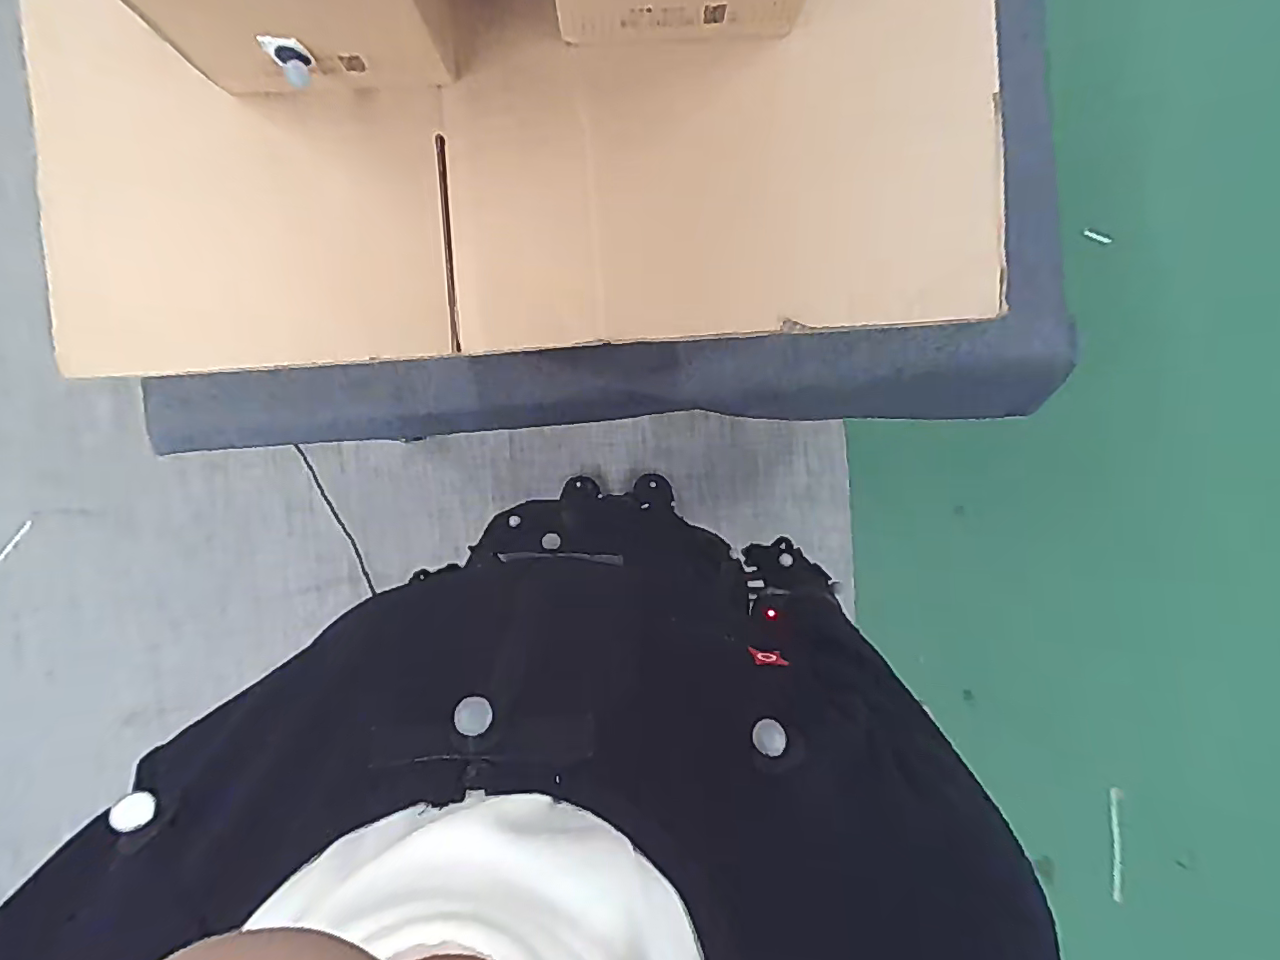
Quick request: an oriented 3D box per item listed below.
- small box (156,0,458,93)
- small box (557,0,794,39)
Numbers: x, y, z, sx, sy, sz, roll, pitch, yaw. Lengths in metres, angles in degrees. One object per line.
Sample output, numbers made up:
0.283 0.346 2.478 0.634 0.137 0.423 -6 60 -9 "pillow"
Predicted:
-0.216 -0.367 0.308 0.168 0.176 0.179 -4 93 1 "small box"
0.023 -0.398 0.300 0.168 0.176 0.179 -3 91 -1 "small box"
